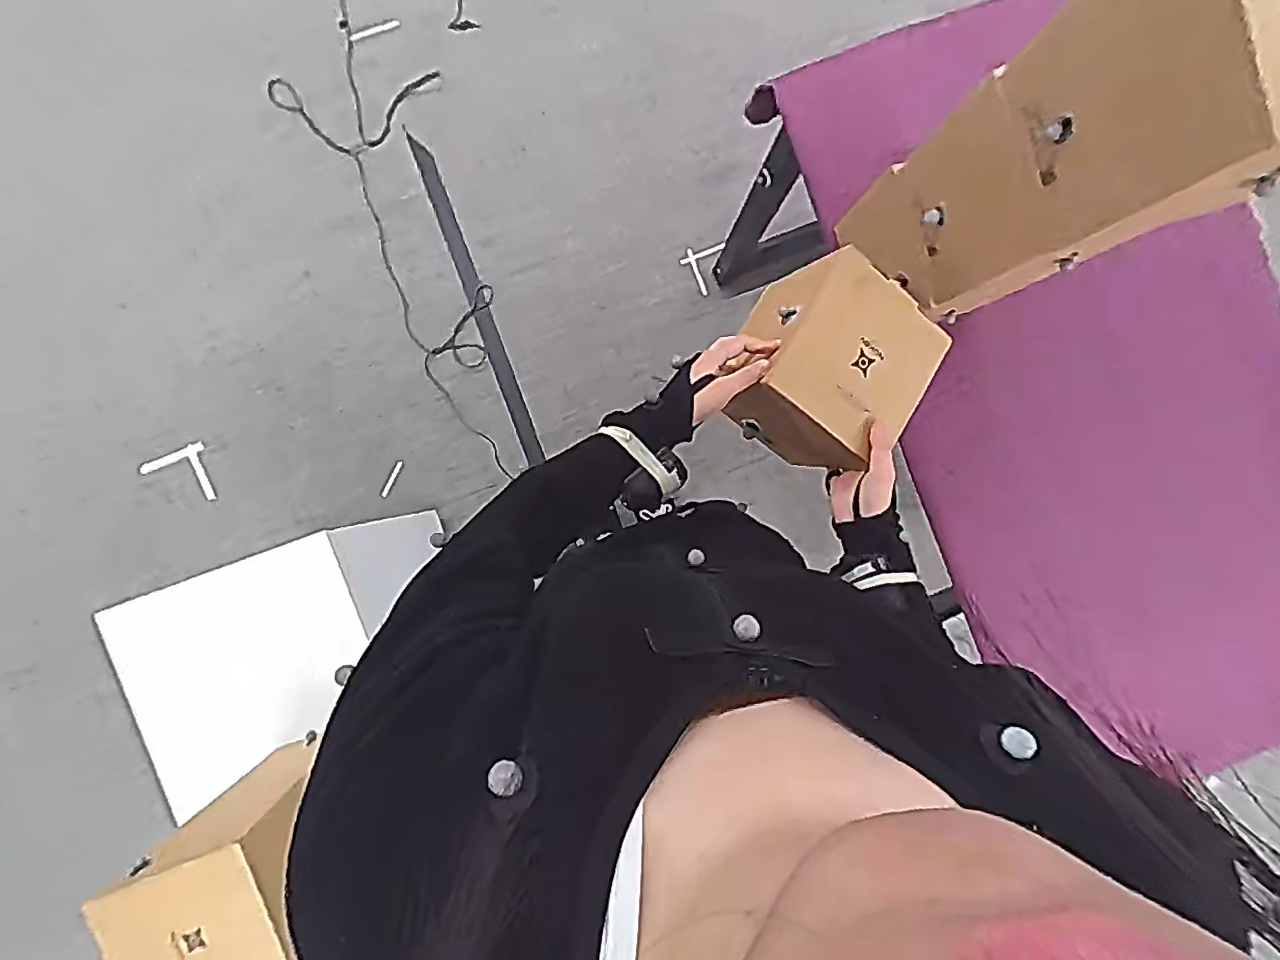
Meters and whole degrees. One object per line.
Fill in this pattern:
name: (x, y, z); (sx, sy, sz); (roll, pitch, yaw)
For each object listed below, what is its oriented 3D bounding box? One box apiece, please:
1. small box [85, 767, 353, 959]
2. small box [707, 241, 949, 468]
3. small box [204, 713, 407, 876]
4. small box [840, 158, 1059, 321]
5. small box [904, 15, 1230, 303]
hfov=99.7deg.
small box: (-0.482, 0.488, 0.656); (0.179, 0.176, 0.168); (-21, 91, -2)
small box: (0.205, -0.133, 0.633); (0.168, 0.176, 0.179); (33, 84, -16)
small box: (-0.491, 0.488, 0.819); (0.179, 0.176, 0.168); (-20, 91, -1)
small box: (0.391, -0.305, 0.711); (0.168, 0.176, 0.179); (-17, 91, -2)
small box: (0.408, -0.302, 0.547); (0.179, 0.176, 0.168); (-18, 92, -1)
